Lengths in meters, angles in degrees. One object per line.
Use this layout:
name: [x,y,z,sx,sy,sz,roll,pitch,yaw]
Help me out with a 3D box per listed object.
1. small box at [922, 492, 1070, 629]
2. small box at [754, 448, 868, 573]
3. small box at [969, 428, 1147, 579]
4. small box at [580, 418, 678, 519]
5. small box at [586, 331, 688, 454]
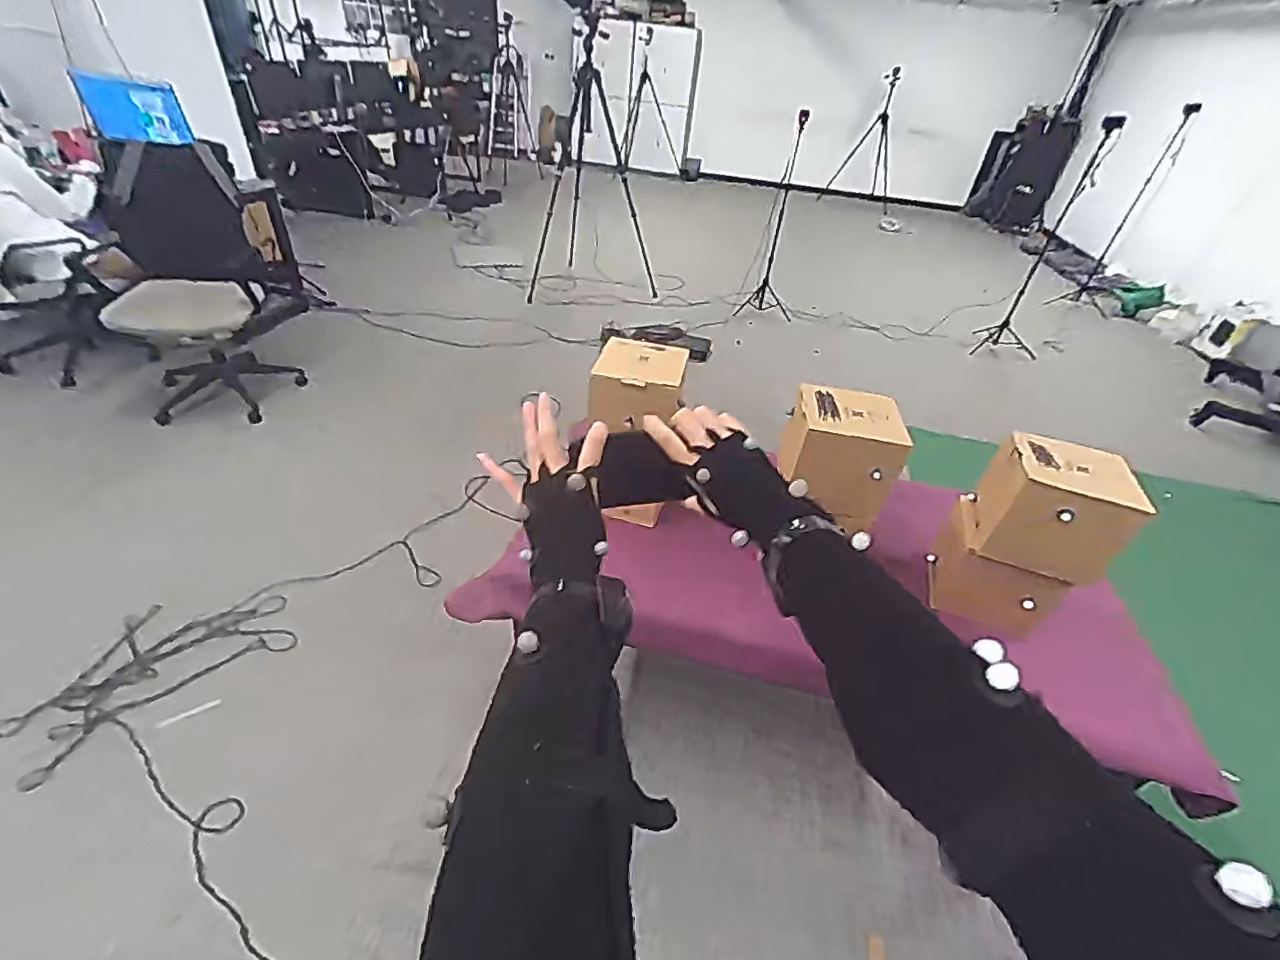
small box: [0.666,0.156,1.034,0.179,0.176,0.168,18,40,14]
small box: [0.345,0.065,1.098,0.179,0.176,0.168,14,39,9]
small box: [0.685,0.040,0.919,0.179,0.176,0.168,18,40,13]
small box: [-0.023,-0.041,1.178,0.168,0.176,0.179,15,39,10]
small box: [-0.007,-0.173,1.082,0.168,0.176,0.179,12,40,5]
